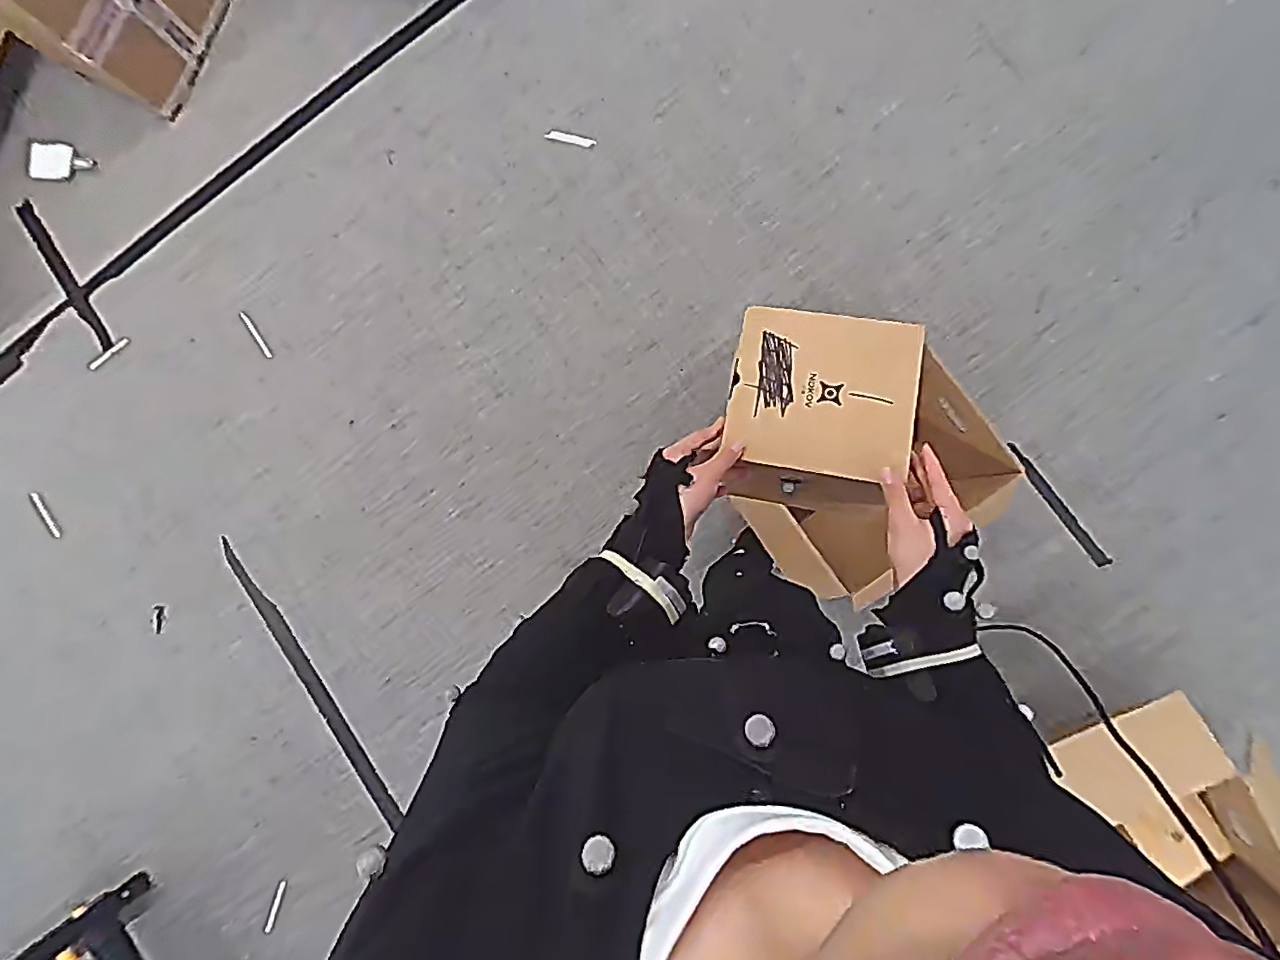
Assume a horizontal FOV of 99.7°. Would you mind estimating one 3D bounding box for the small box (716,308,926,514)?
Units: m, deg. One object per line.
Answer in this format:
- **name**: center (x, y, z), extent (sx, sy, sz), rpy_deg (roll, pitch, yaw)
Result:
- **small box**: center (0.186, -0.066, 0.595), extent (0.179, 0.176, 0.168), rpy_deg (10, 79, 11)
